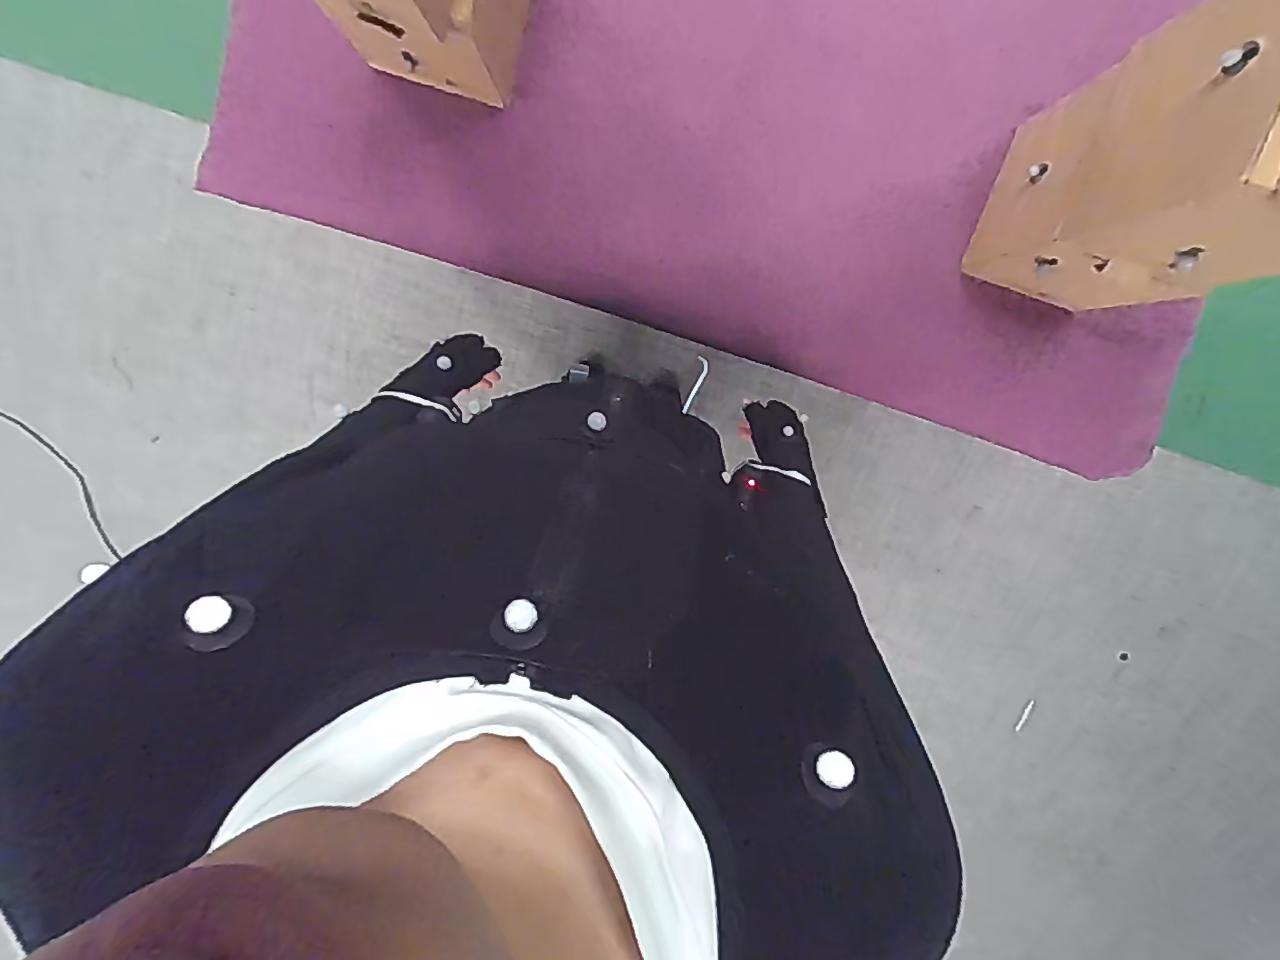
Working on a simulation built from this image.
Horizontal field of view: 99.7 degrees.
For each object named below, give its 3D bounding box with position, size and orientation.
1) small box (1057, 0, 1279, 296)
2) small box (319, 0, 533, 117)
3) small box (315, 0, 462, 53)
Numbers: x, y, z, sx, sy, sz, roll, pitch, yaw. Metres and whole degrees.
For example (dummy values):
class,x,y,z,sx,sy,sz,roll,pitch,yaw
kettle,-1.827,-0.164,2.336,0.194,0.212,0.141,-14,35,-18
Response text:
class,x,y,z,sx,sy,sz,roll,pitch,yaw
small box,0.500,-0.266,0.442,0.168,0.176,0.179,14,101,-3
small box,-0.211,-0.517,0.548,0.168,0.176,0.179,15,103,-5
small box,-0.221,-0.467,0.391,0.168,0.176,0.179,20,102,-6
